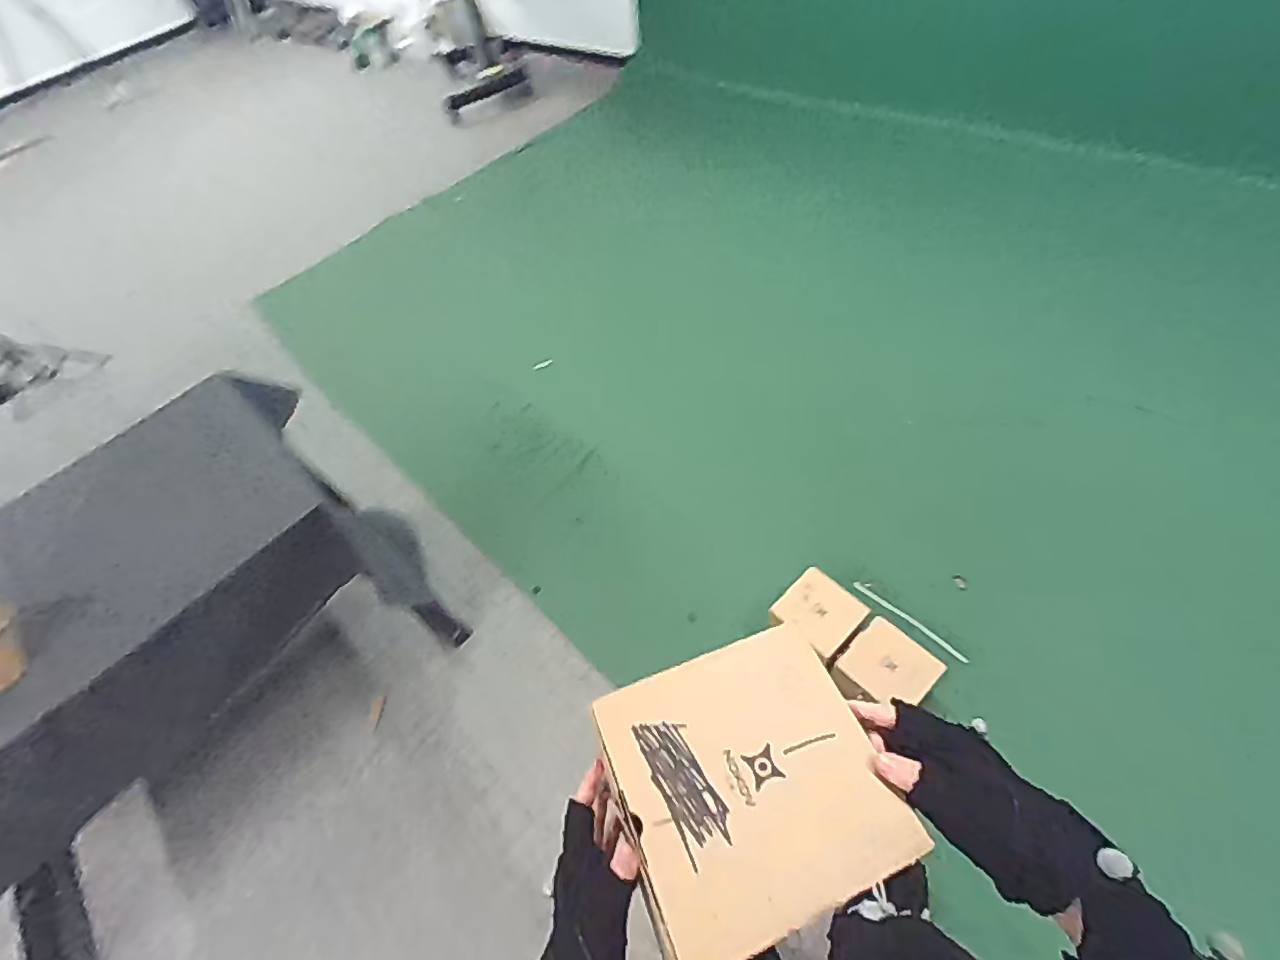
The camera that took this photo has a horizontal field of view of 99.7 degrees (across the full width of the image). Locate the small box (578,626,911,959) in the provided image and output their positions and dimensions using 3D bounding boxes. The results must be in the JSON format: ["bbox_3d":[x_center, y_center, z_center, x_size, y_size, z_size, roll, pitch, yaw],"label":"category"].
[{"bbox_3d":[0.063,0.249,0.427,0.179,0.176,0.168,-16,53,-15],"label":"small box"}]
